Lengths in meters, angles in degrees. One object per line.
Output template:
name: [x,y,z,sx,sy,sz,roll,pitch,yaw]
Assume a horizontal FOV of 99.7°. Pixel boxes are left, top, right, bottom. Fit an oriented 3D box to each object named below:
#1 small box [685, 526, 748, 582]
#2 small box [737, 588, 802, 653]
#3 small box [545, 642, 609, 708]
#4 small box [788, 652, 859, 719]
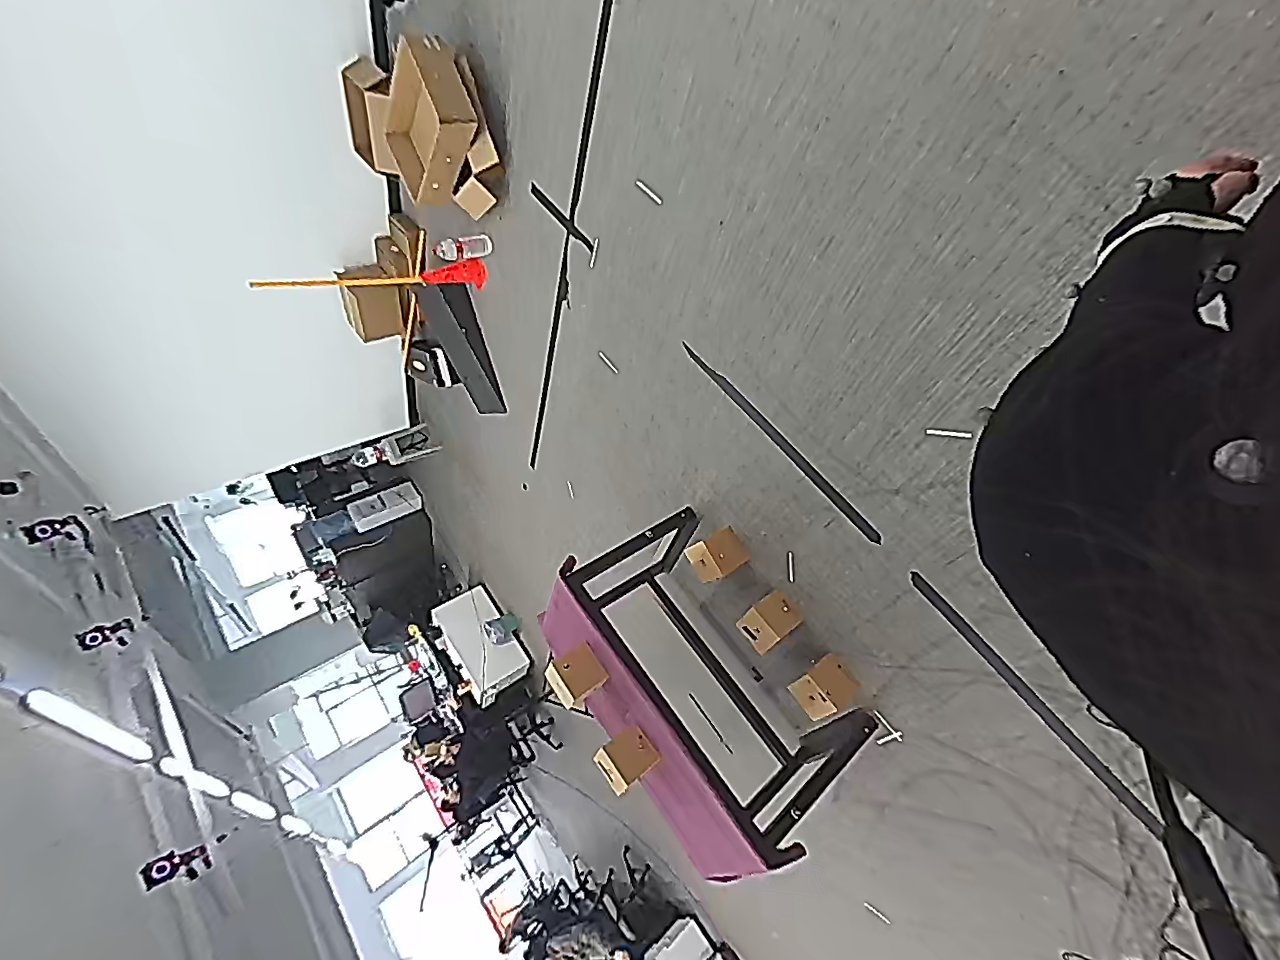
small box: [0.338,0.320,2.378,0.179,0.176,0.168,59,146,6]
small box: [0.547,0.586,2.264,0.168,0.176,0.179,49,144,21]
small box: [-0.252,0.771,2.158,0.179,0.176,0.168,51,146,19]
small box: [0.735,0.819,2.160,0.168,0.176,0.179,51,146,20]
